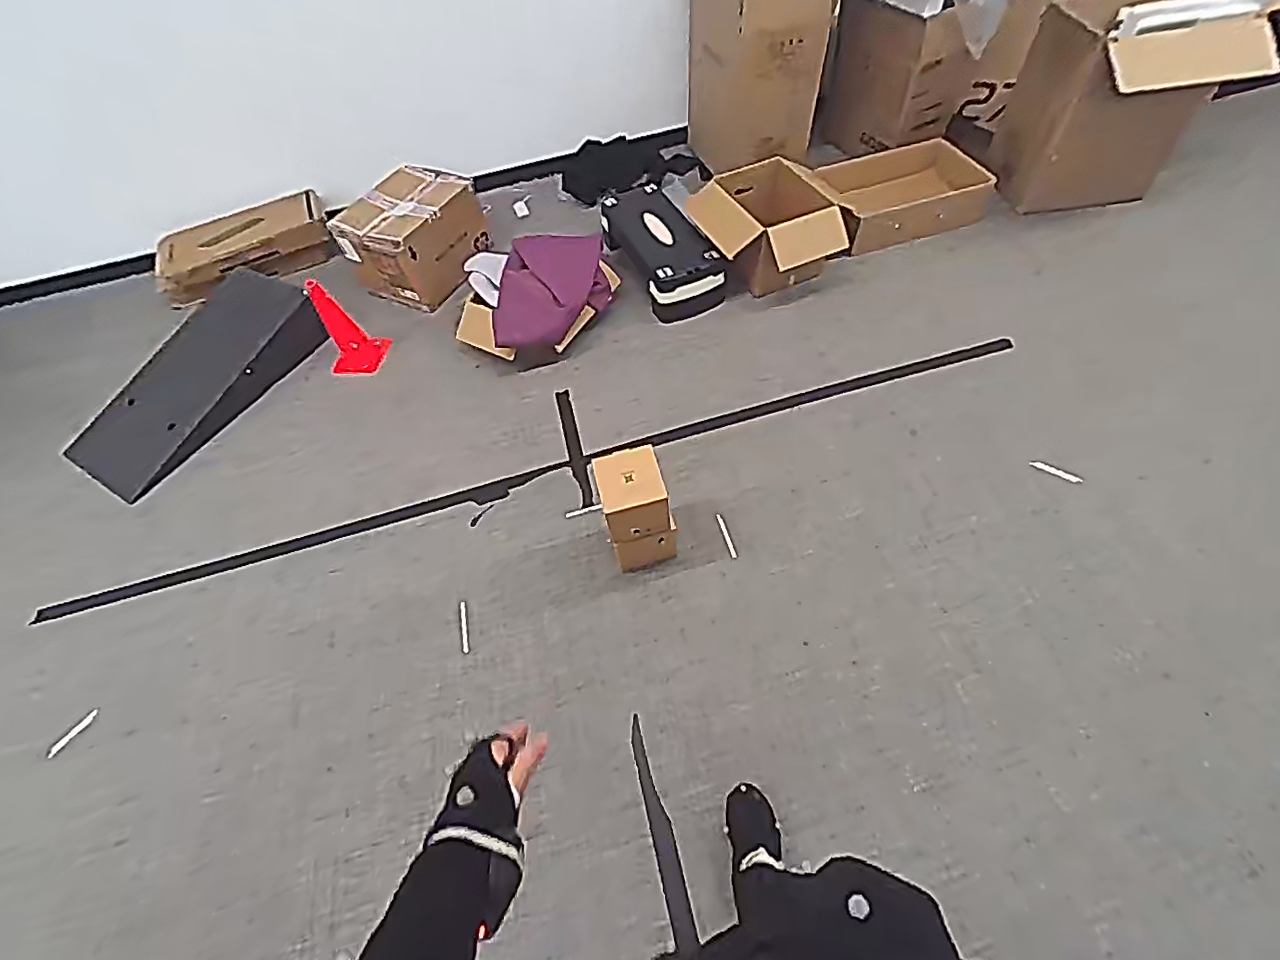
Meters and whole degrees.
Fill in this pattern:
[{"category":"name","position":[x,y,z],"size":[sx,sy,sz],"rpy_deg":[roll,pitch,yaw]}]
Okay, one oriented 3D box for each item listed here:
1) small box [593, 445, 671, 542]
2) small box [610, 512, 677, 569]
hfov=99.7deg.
[{"category":"small box","position":[-0.019,0.040,1.441],"size":[0.168,0.176,0.179],"rpy_deg":[-15,58,-3]},{"category":"small box","position":[0.002,0.136,1.571],"size":[0.179,0.176,0.168],"rpy_deg":[-16,57,-4]}]
